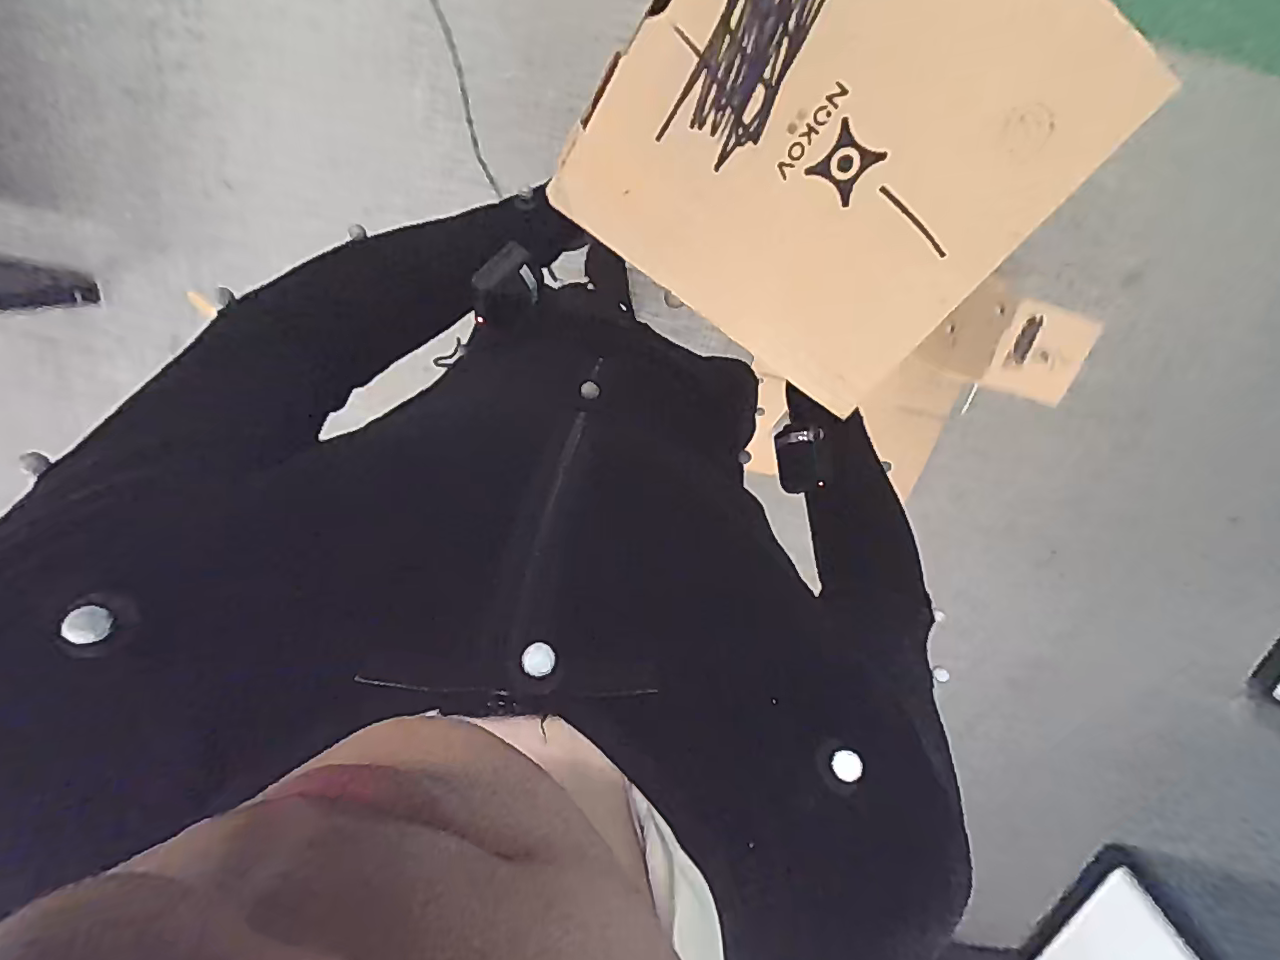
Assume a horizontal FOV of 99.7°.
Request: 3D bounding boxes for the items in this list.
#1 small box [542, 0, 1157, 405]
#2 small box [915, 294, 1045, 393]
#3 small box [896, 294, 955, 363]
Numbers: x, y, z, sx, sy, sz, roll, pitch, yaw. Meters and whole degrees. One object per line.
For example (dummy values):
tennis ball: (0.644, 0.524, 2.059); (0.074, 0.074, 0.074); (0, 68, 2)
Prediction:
small box: (0.080, -0.175, 0.282); (0.179, 0.176, 0.168); (32, 120, -12)
small box: (0.783, -0.325, 1.272); (0.168, 0.176, 0.179); (14, 111, -5)
small box: (0.786, -0.393, 1.419); (0.168, 0.176, 0.179); (14, 112, -6)
